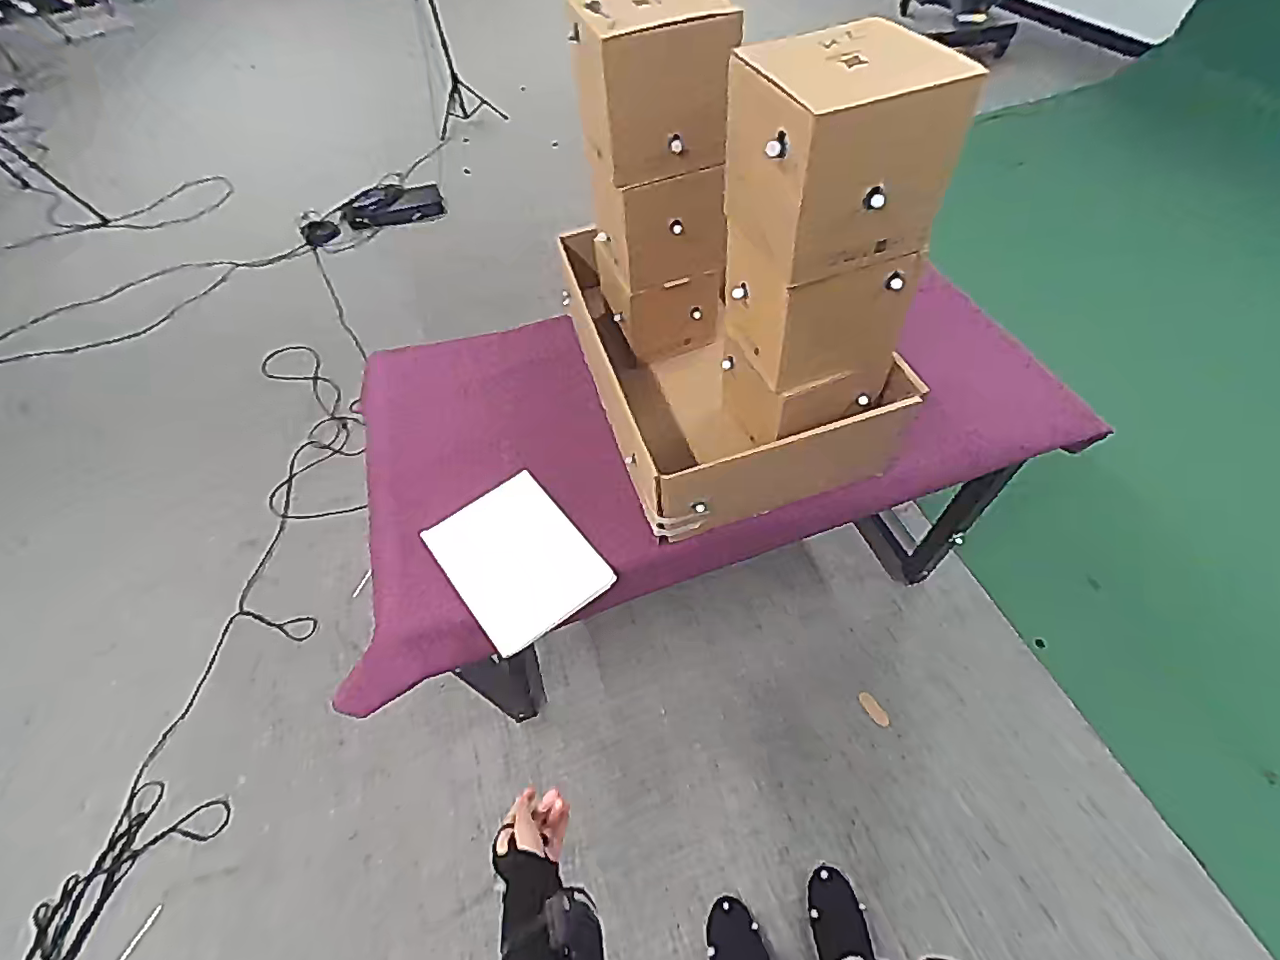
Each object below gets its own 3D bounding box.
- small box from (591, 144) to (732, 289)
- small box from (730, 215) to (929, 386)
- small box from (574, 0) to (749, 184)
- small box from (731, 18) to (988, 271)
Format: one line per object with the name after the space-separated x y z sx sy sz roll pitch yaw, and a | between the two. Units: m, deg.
0.036 -0.433 0.851 0.179 0.176 0.168 -19 57 -8 | small box
0.226 -0.246 0.700 0.179 0.176 0.168 -17 54 -6 | small box
0.022 -0.526 0.717 0.179 0.176 0.168 -17 56 -8 | small box
0.205 -0.340 0.566 0.168 0.176 0.179 -17 54 -7 | small box
